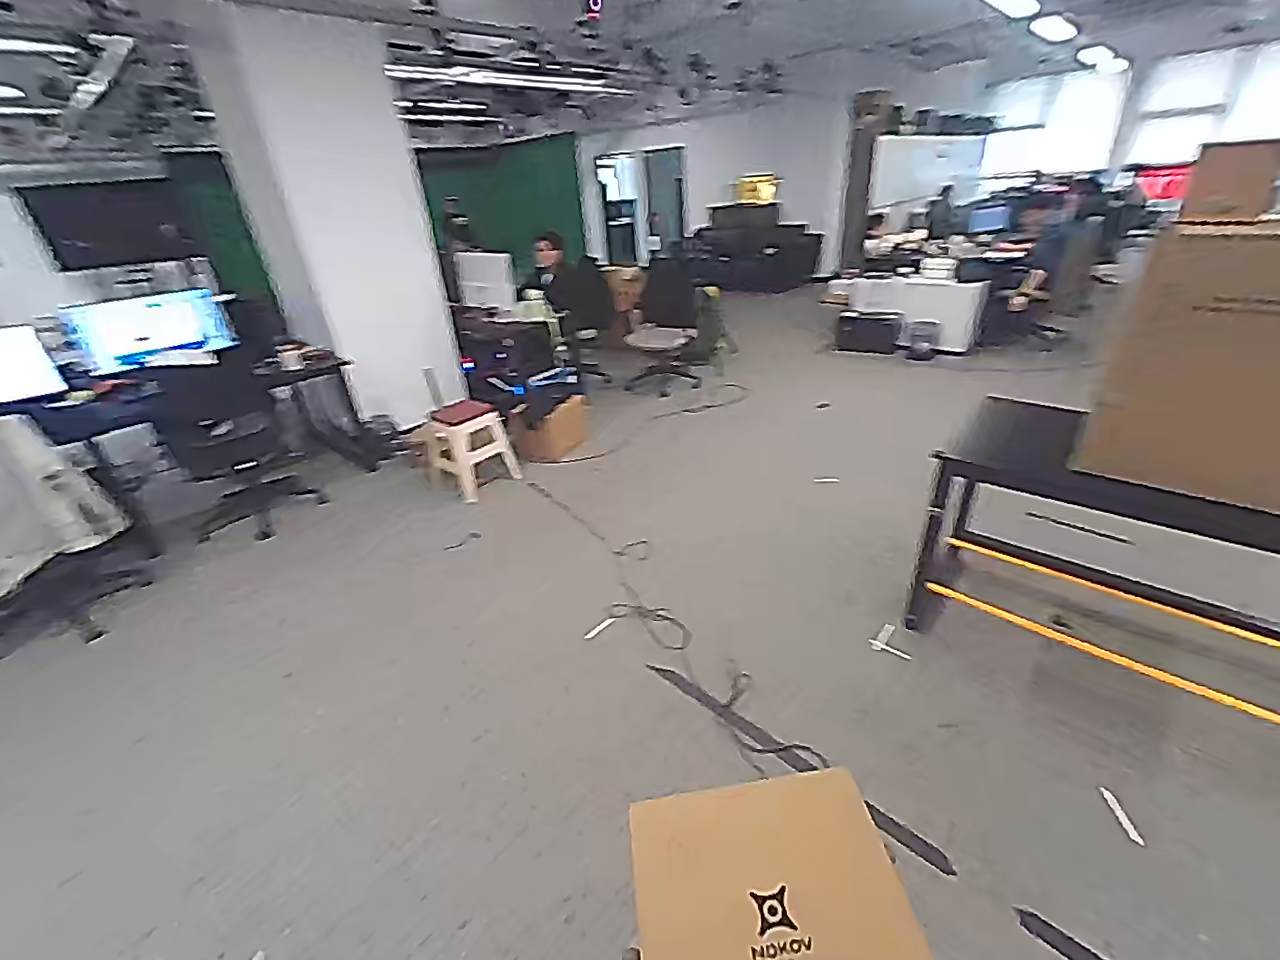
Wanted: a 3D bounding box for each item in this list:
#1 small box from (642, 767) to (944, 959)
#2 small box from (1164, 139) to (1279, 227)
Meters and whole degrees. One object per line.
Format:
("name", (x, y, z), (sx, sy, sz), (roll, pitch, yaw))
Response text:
("small box", (0.095, 0.331, 0.362), (0.168, 0.176, 0.179), (-9, 32, 0))
("small box", (1.380, -0.699, 1.276), (0.168, 0.176, 0.179), (20, 37, 38))
